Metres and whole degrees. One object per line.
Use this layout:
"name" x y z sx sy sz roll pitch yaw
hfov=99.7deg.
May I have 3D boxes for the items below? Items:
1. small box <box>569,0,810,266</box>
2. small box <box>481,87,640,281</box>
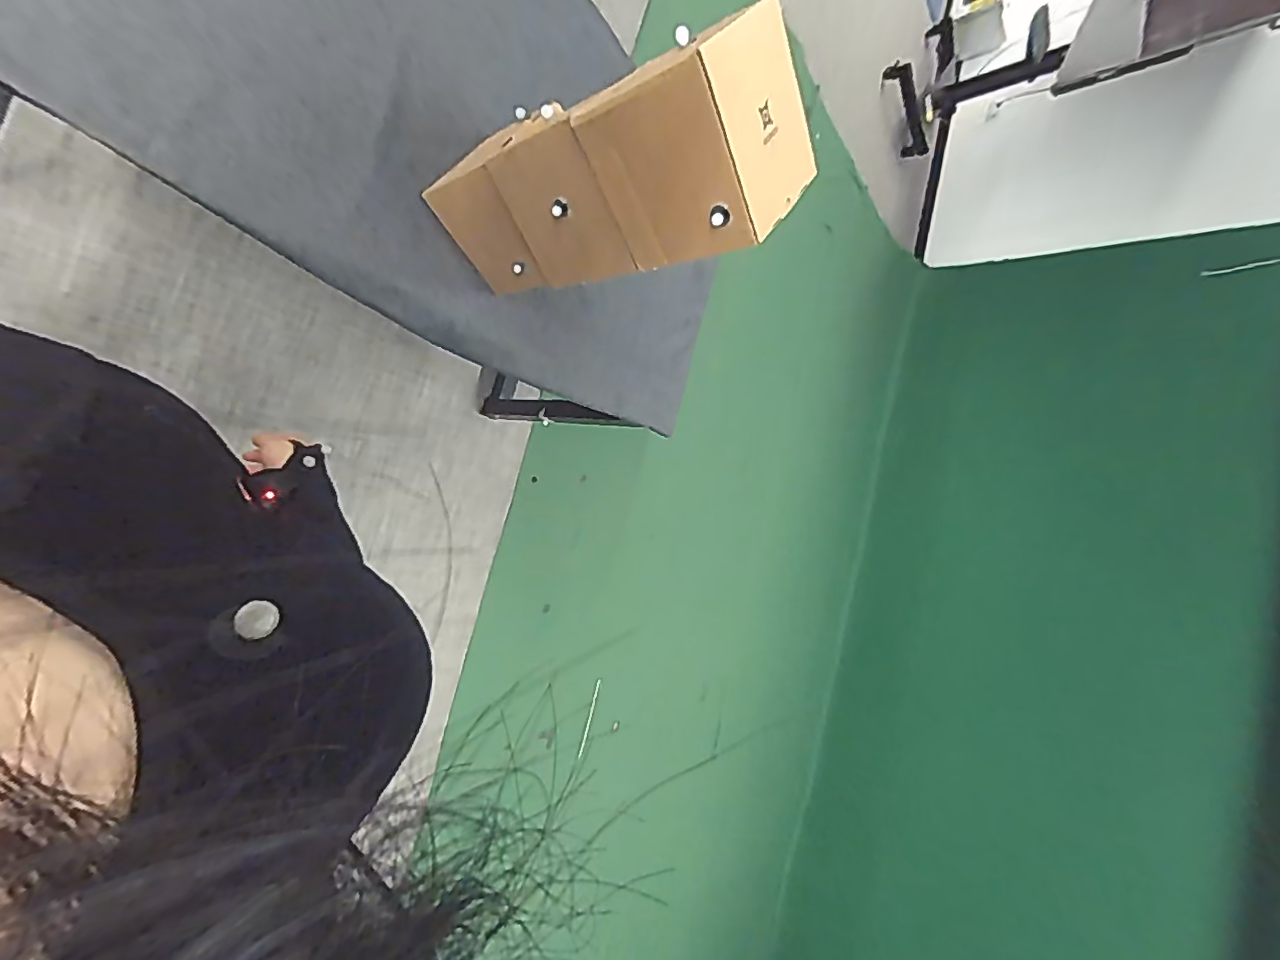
"small box" 0.056 -0.357 0.580 0.168 0.176 0.179 -54 132 -28
"small box" -0.062 -0.373 0.690 0.168 0.176 0.179 -52 130 -30
